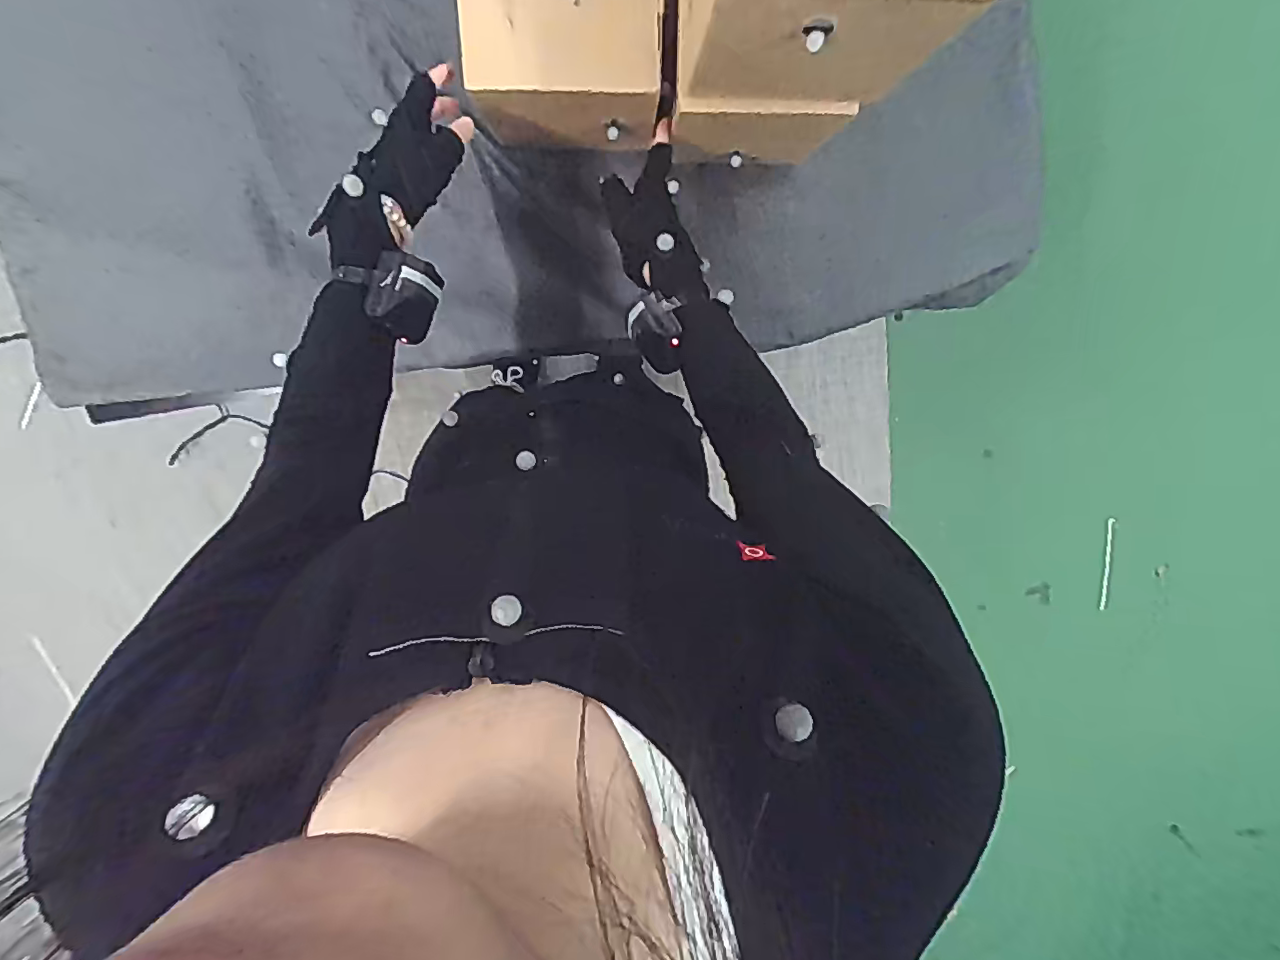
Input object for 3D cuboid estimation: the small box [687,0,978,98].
[{"bbox_3d":[0.130,-0.398,0.385,0.179,0.176,0.168,0,107,-3],"label":"small box"}]
